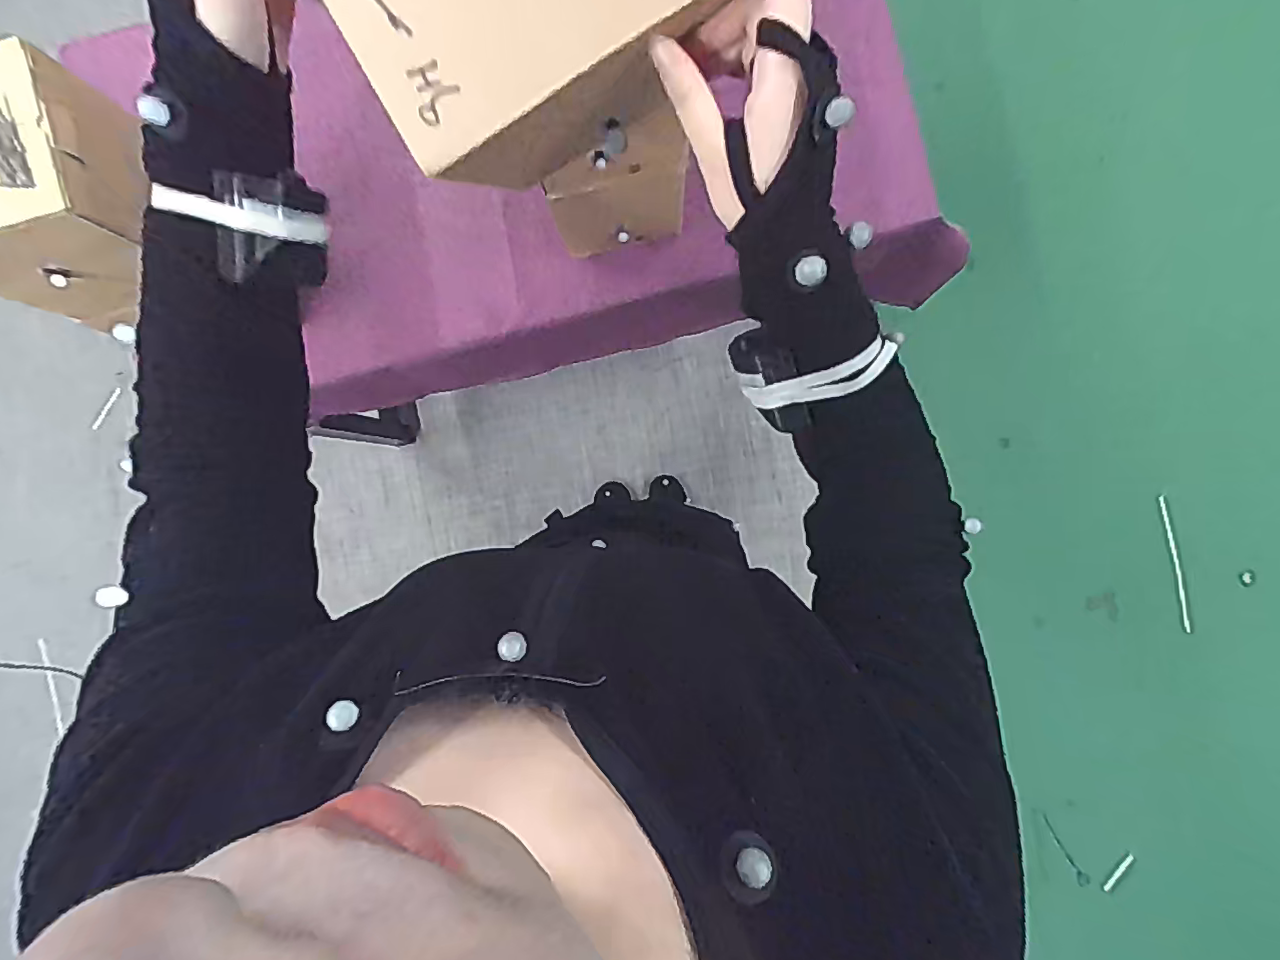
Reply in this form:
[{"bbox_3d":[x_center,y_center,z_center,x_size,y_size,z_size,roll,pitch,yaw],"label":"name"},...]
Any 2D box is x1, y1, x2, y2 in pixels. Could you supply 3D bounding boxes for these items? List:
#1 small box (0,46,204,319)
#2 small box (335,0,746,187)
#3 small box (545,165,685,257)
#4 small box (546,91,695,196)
[{"bbox_3d":[-0.604,-0.288,0.563,0.179,0.176,0.168,-15,89,2],"label":"small box"},{"bbox_3d":[-0.056,-0.286,0.296,0.179,0.176,0.168,-22,110,16],"label":"small box"},{"bbox_3d":[-0.040,-0.423,0.705,0.168,0.176,0.179,-11,90,3],"label":"small box"},{"bbox_3d":[-0.044,-0.424,0.542,0.168,0.176,0.179,-11,90,2],"label":"small box"}]
